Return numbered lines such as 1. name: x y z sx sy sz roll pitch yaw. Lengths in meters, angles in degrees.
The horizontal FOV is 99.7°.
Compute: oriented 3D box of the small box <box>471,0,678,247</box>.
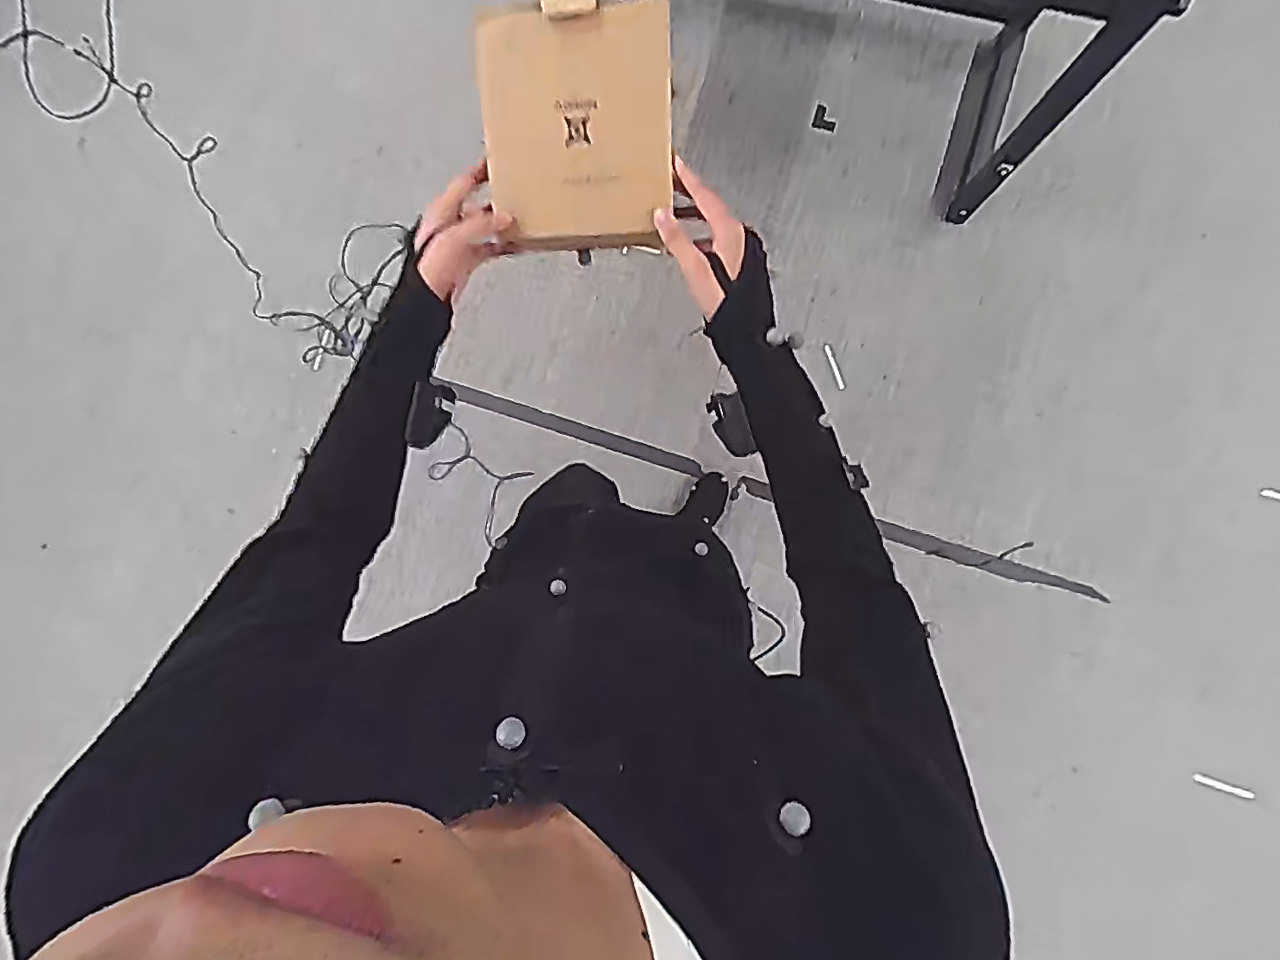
1. small box: -0.050 -0.330 0.520 0.168 0.176 0.179 -1 107 2
